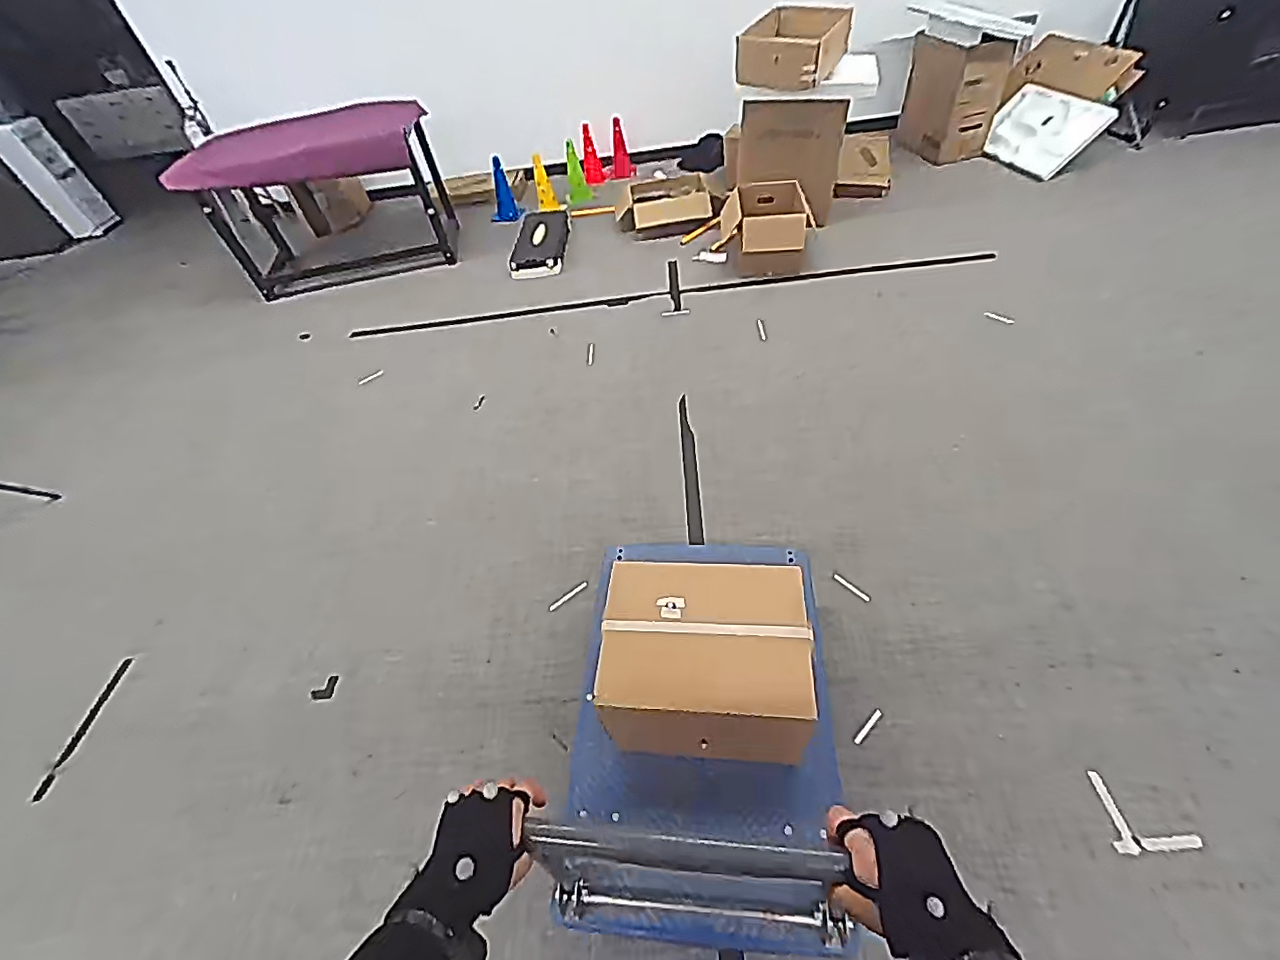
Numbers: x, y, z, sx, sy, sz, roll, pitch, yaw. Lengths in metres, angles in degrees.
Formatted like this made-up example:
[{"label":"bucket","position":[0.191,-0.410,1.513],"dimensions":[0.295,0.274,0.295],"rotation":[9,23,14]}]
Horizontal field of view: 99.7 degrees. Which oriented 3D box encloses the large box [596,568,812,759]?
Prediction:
[{"label":"large box","position":[0.143,0.408,1.199],"dimensions":[0.408,0.320,0.320],"rotation":[-1,48,9]}]
